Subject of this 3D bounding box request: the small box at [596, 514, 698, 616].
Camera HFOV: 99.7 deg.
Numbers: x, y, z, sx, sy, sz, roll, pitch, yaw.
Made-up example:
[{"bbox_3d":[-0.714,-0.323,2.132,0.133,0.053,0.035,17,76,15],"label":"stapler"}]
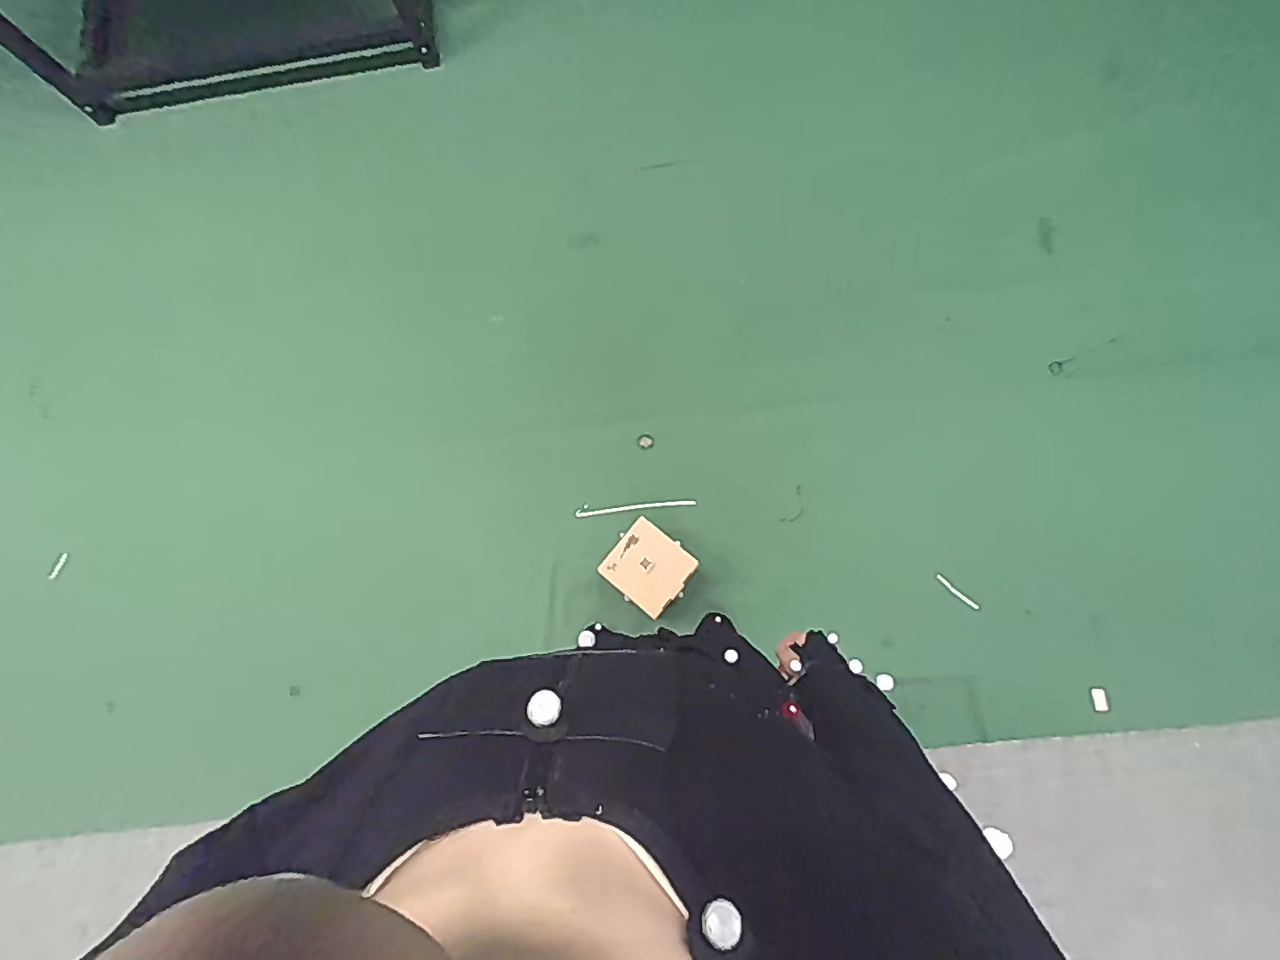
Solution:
[{"bbox_3d":[0.020,0.205,1.303,0.179,0.176,0.168,39,83,10],"label":"small box"}]
